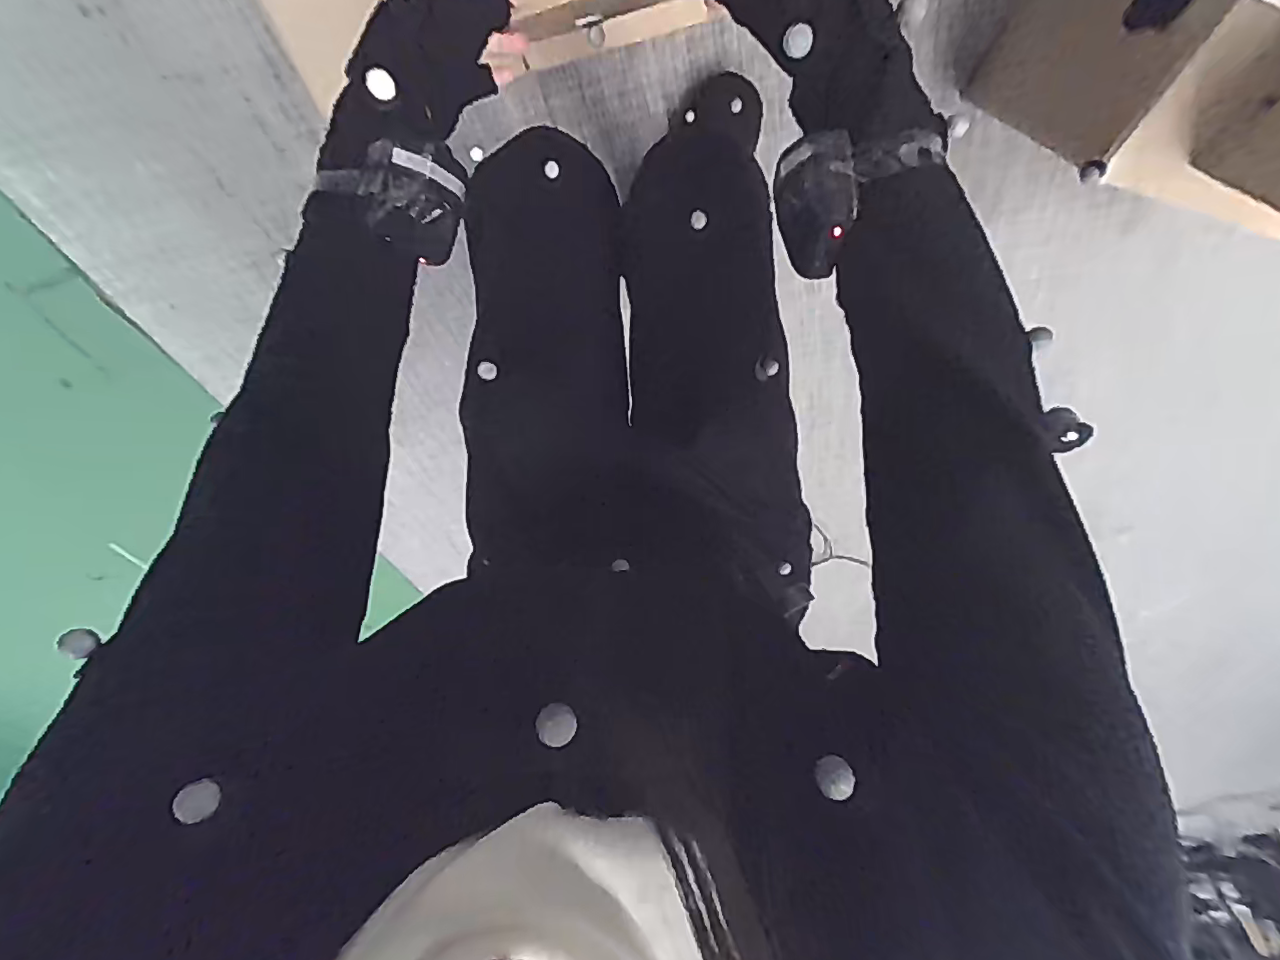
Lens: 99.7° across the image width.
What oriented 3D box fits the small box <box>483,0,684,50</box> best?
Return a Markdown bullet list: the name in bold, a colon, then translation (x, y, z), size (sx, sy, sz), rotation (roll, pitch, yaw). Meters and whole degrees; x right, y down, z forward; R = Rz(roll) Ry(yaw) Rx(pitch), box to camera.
- **small box**: translation (-0.048, -0.451, 0.395), size (0.168, 0.176, 0.179), rotation (-12, 124, 10)
